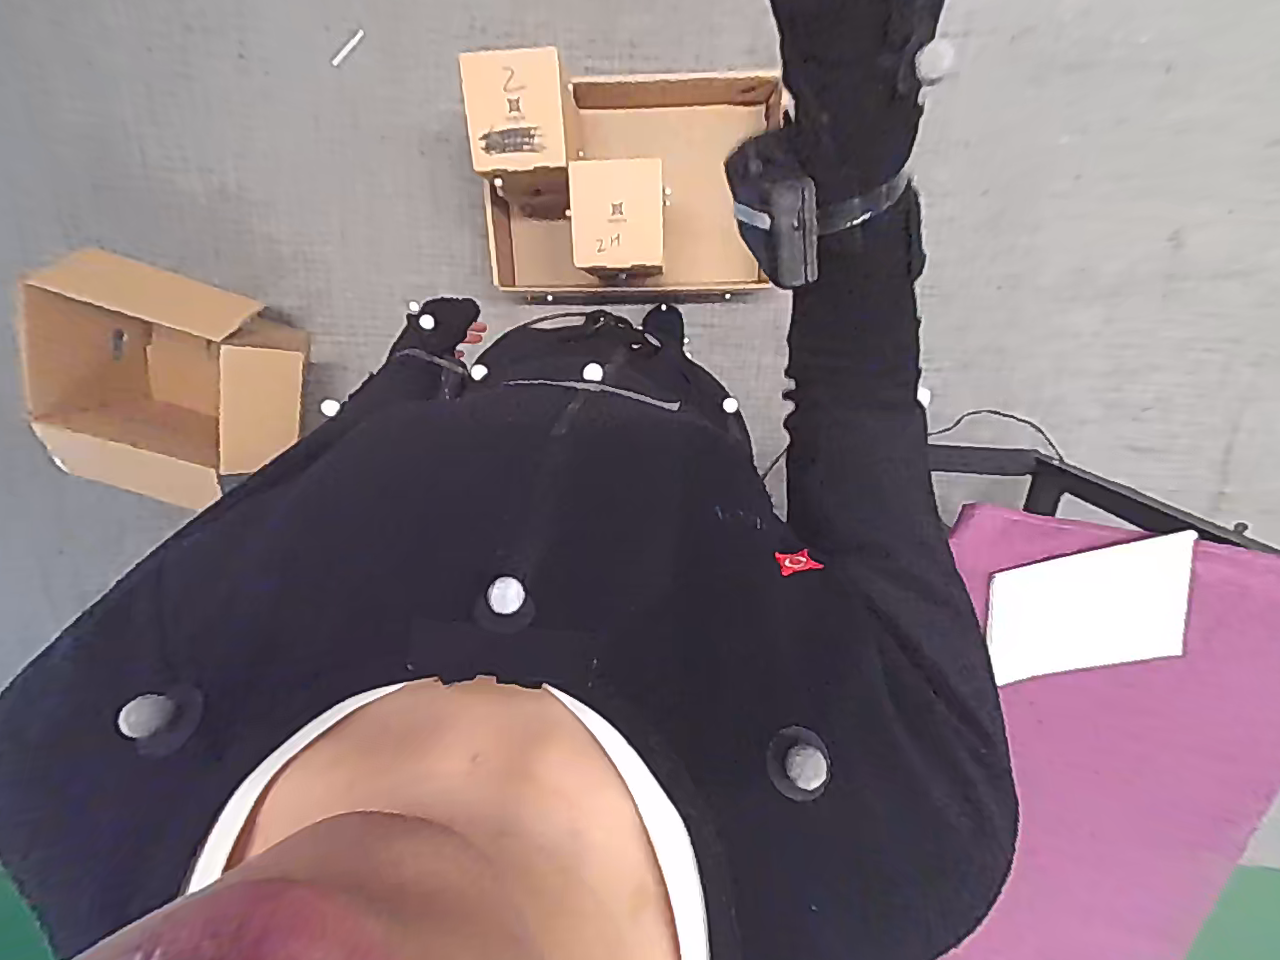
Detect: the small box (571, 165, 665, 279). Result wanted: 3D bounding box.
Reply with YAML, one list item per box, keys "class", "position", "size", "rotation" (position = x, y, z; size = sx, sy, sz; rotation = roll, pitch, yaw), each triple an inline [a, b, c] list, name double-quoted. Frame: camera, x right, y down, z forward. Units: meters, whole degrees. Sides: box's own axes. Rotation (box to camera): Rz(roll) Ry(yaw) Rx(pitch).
- class: "small box"
  position: [-0.037, -0.484, 1.035]
  size: [0.168, 0.176, 0.179]
  rotation: [-1, 108, 2]
